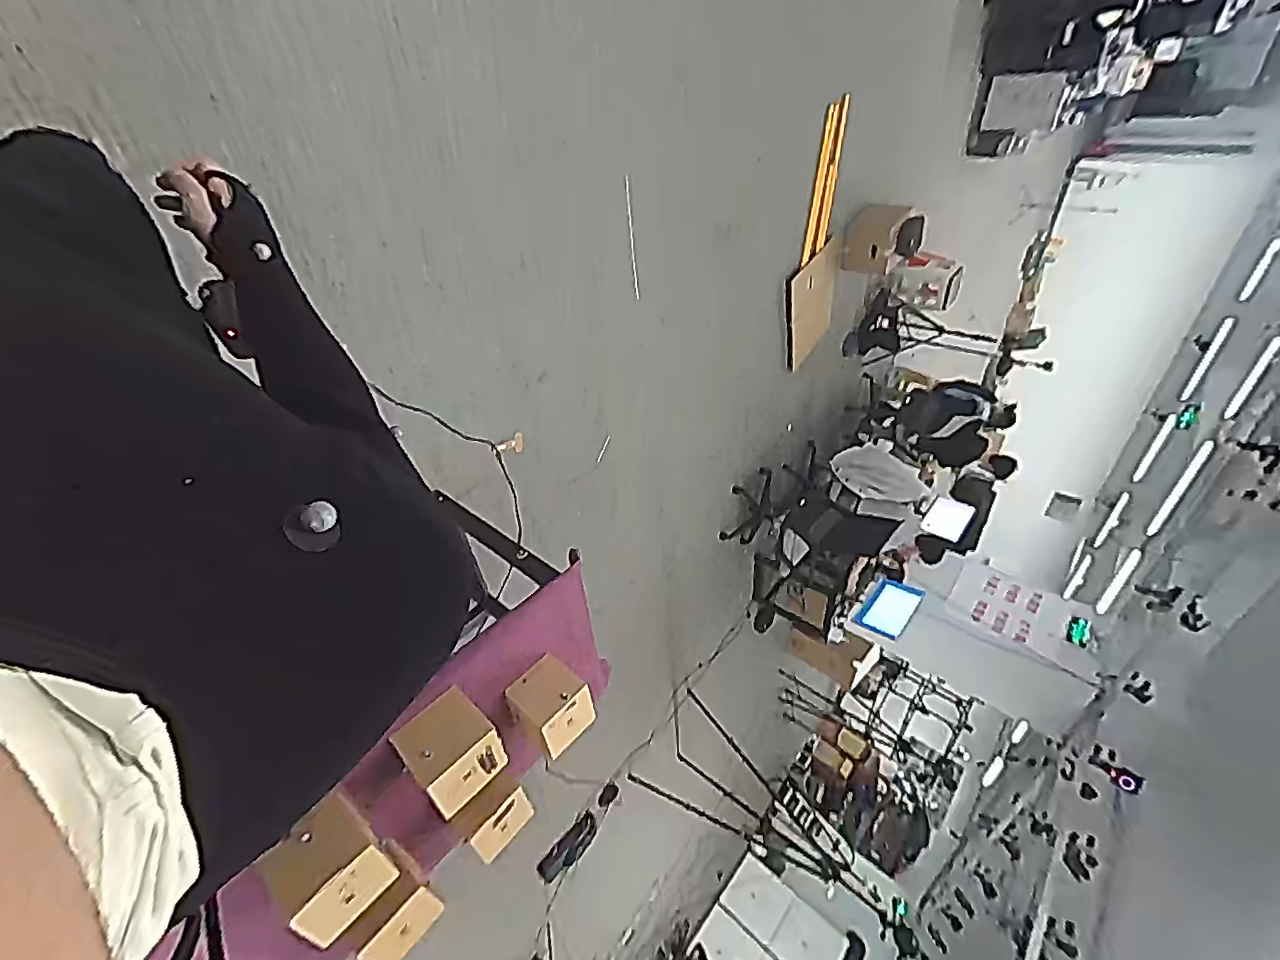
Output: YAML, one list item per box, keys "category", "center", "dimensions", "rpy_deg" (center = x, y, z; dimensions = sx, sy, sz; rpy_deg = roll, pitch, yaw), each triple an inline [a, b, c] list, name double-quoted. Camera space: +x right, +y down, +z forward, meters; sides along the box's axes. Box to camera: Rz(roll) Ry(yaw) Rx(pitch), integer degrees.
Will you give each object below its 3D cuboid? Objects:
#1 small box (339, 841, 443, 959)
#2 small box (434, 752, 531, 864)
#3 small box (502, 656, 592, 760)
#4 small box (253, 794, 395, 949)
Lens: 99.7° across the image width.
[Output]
- category: "small box"
  center: [-0.610, 1.012, 1.289]
  dimensions: [0.168, 0.176, 0.179]
  rpy_deg: [-40, 137, -34]
- category: "small box"
  center: [-0.423, 0.870, 1.449]
  dimensions: [0.168, 0.176, 0.179]
  rpy_deg: [-38, 138, -34]
- category: "small box"
  center: [-0.259, 0.633, 1.516]
  dimensions: [0.168, 0.176, 0.179]
  rpy_deg: [-38, 138, -36]
- category: "small box"
  center: [-0.640, 0.789, 1.103]
  dimensions: [0.168, 0.176, 0.179]
  rpy_deg: [-37, 138, -36]
